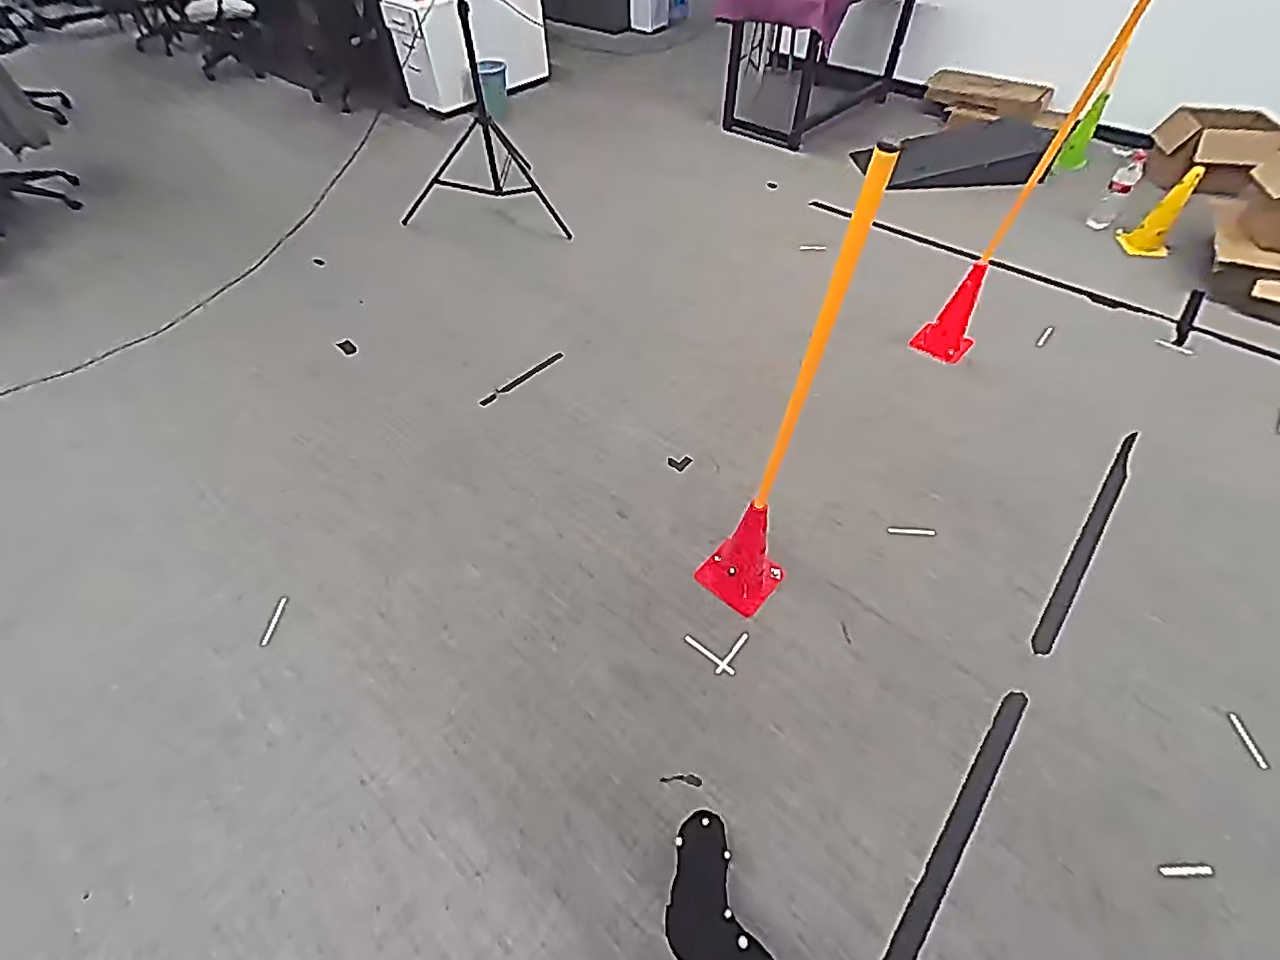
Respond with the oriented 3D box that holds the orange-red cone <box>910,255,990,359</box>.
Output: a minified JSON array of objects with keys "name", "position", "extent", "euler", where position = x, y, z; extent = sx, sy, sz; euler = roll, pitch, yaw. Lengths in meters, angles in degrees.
[{"name":"orange-red cone","position":[1.223,-0.680,2.057],"extent":[0.198,0.360,0.199],"euler":[38,61,26]}]
